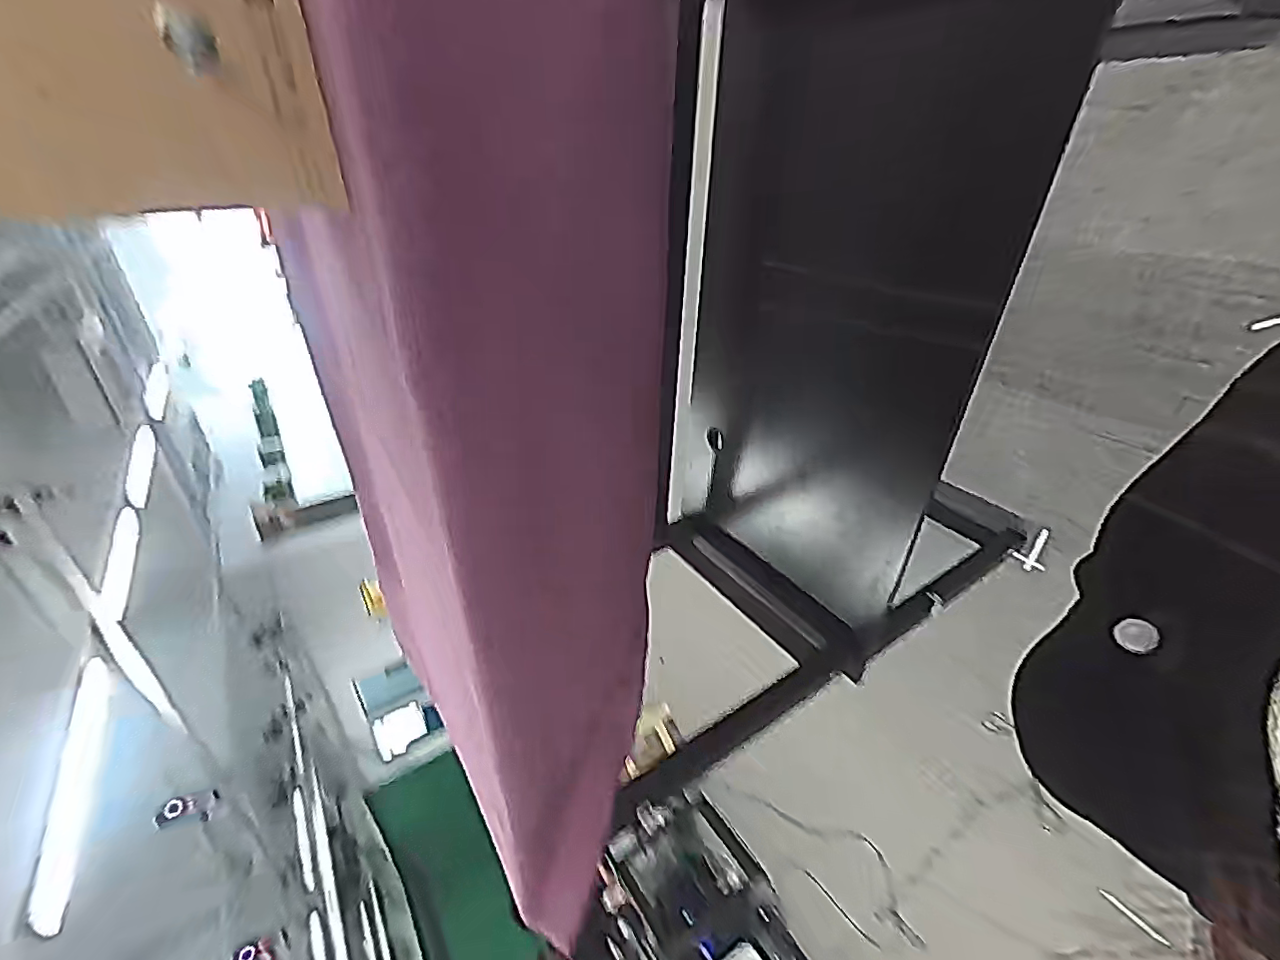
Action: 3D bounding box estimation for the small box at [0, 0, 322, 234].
[{"bbox_3d":[-0.306,-0.250,0.316,0.179,0.176,0.168,41,140,42],"label":"small box"}]
